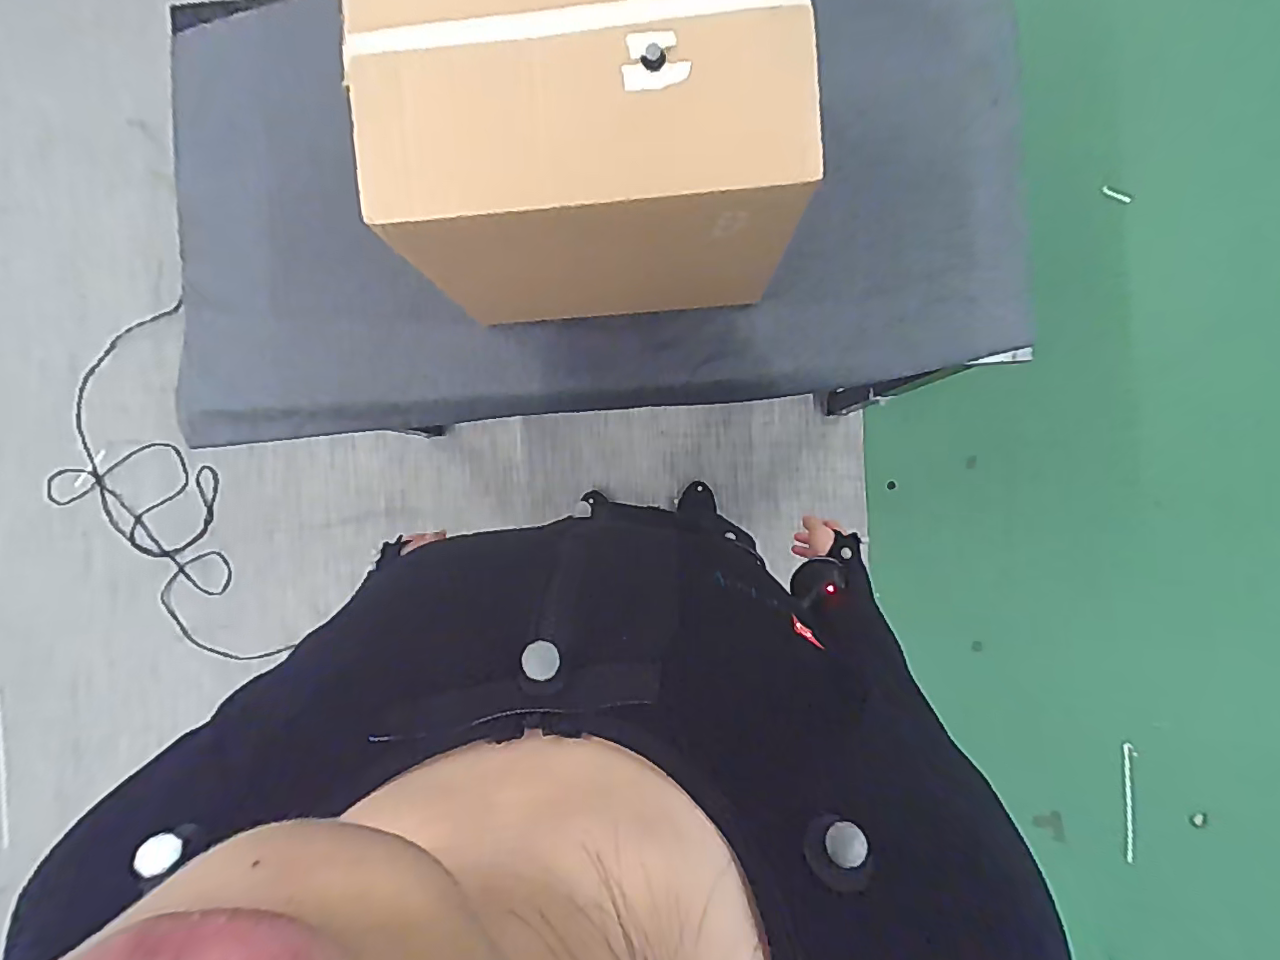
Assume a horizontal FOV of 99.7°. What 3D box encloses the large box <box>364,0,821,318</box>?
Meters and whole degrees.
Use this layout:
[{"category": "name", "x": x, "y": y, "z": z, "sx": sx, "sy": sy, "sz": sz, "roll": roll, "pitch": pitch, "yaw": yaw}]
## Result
[{"category": "large box", "x": -0.046, "y": -0.403, "z": 0.631, "sx": 0.408, "sy": 0.320, "sz": 0.320, "roll": -4, "pitch": 90, "yaw": 2}]
